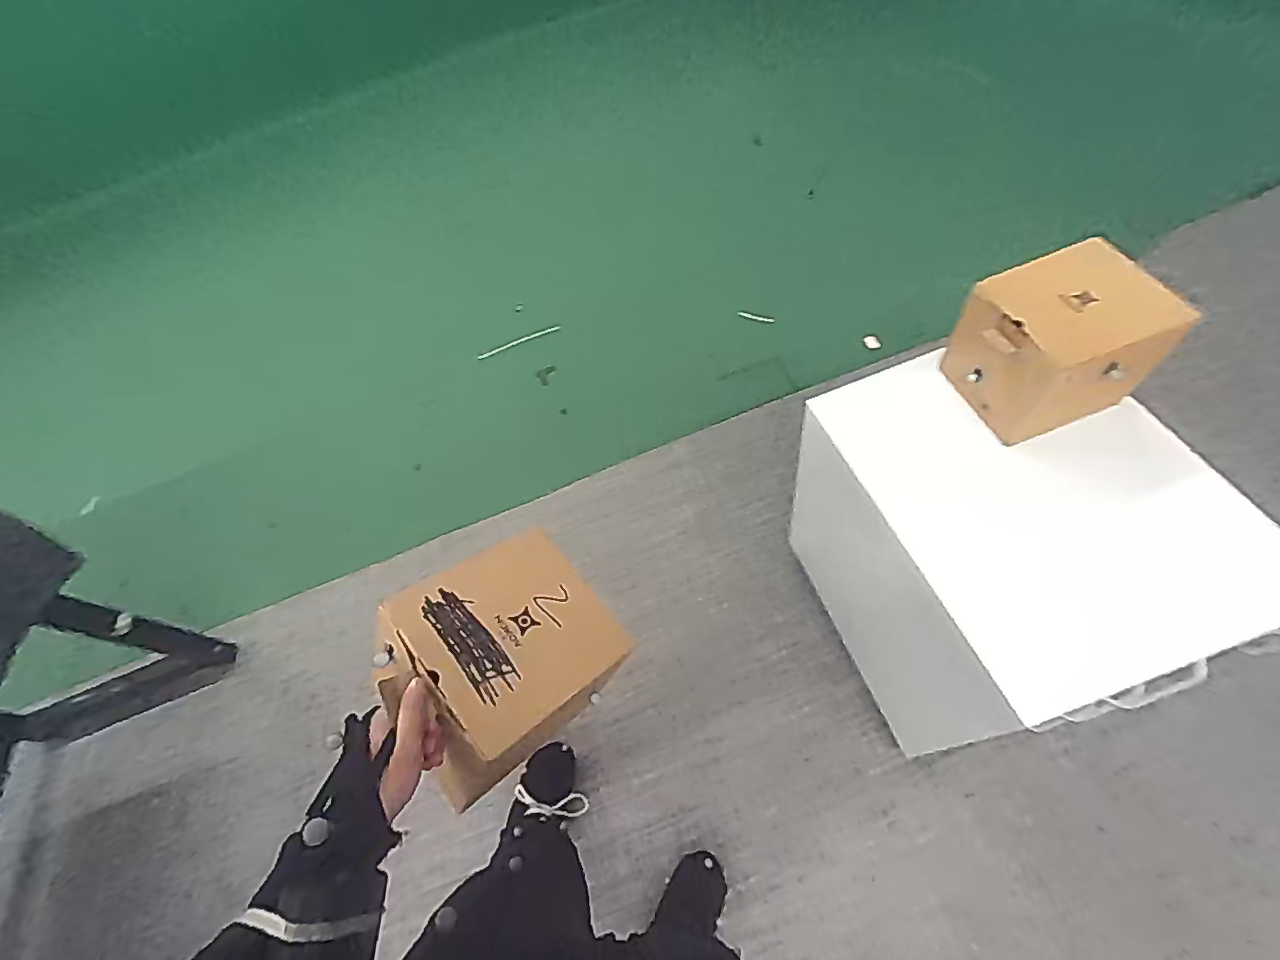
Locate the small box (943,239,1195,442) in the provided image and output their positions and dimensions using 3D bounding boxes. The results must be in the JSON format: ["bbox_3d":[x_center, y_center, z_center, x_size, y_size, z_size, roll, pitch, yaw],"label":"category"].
[{"bbox_3d":[0.555,-0.181,0.734,0.179,0.176,0.168,-21,59,0],"label":"small box"}]
